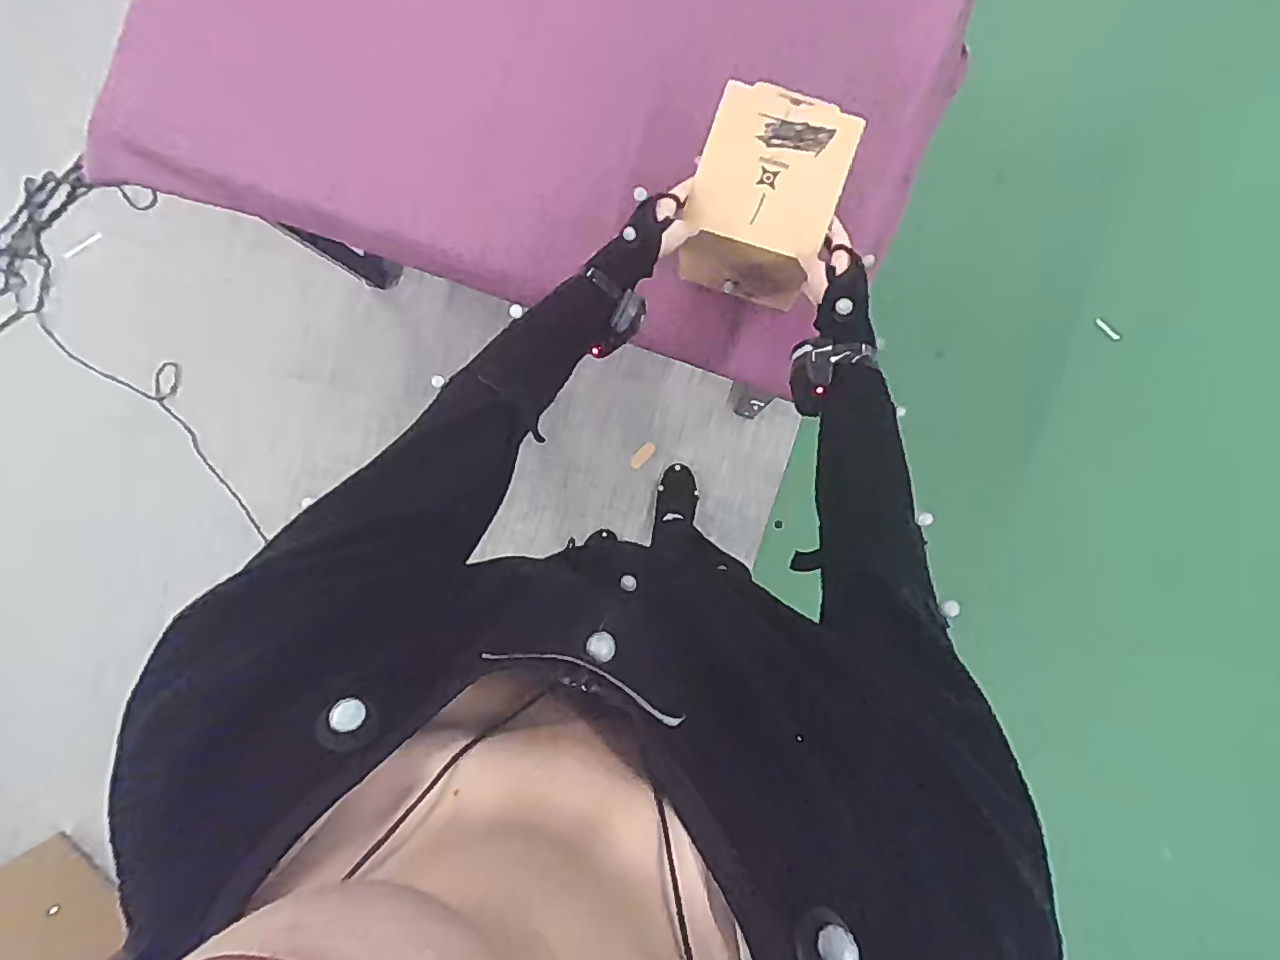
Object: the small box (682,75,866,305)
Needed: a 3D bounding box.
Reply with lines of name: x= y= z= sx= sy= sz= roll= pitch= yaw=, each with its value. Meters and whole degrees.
small box: x=0.155 y=-0.354 z=0.691 sx=0.168 sy=0.176 sz=0.179 roll=19 pitch=90 yaw=5
